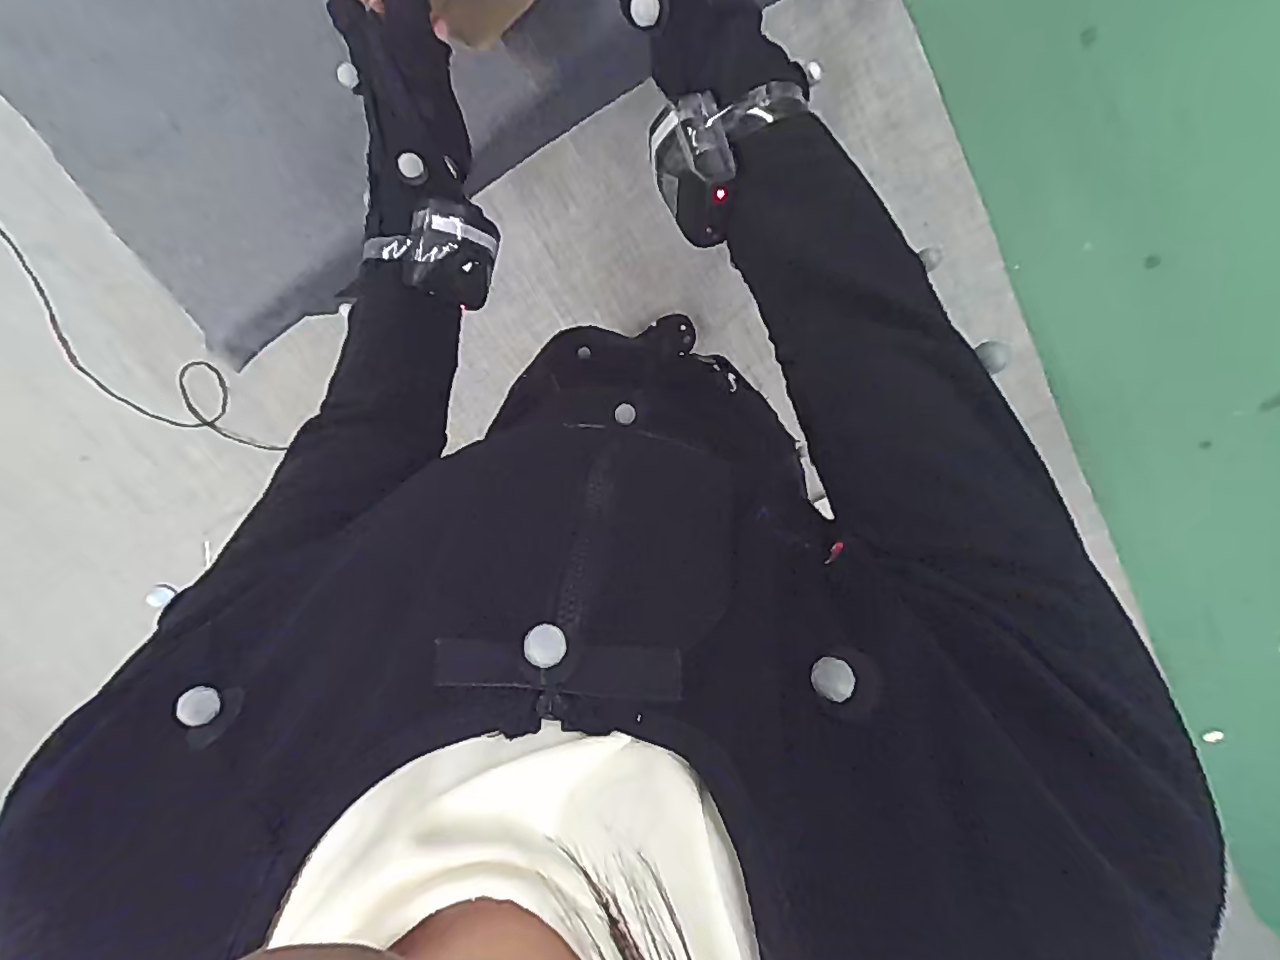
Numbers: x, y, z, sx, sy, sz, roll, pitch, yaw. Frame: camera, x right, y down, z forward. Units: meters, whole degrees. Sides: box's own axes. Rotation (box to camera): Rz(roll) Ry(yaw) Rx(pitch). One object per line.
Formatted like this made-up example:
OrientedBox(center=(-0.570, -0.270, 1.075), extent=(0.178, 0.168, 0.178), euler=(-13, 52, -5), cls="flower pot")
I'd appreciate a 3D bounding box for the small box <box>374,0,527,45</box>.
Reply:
OrientedBox(center=(-0.136, -0.456, 0.381), extent=(0.179, 0.176, 0.168), euler=(-27, 114, 21), cls="small box")
